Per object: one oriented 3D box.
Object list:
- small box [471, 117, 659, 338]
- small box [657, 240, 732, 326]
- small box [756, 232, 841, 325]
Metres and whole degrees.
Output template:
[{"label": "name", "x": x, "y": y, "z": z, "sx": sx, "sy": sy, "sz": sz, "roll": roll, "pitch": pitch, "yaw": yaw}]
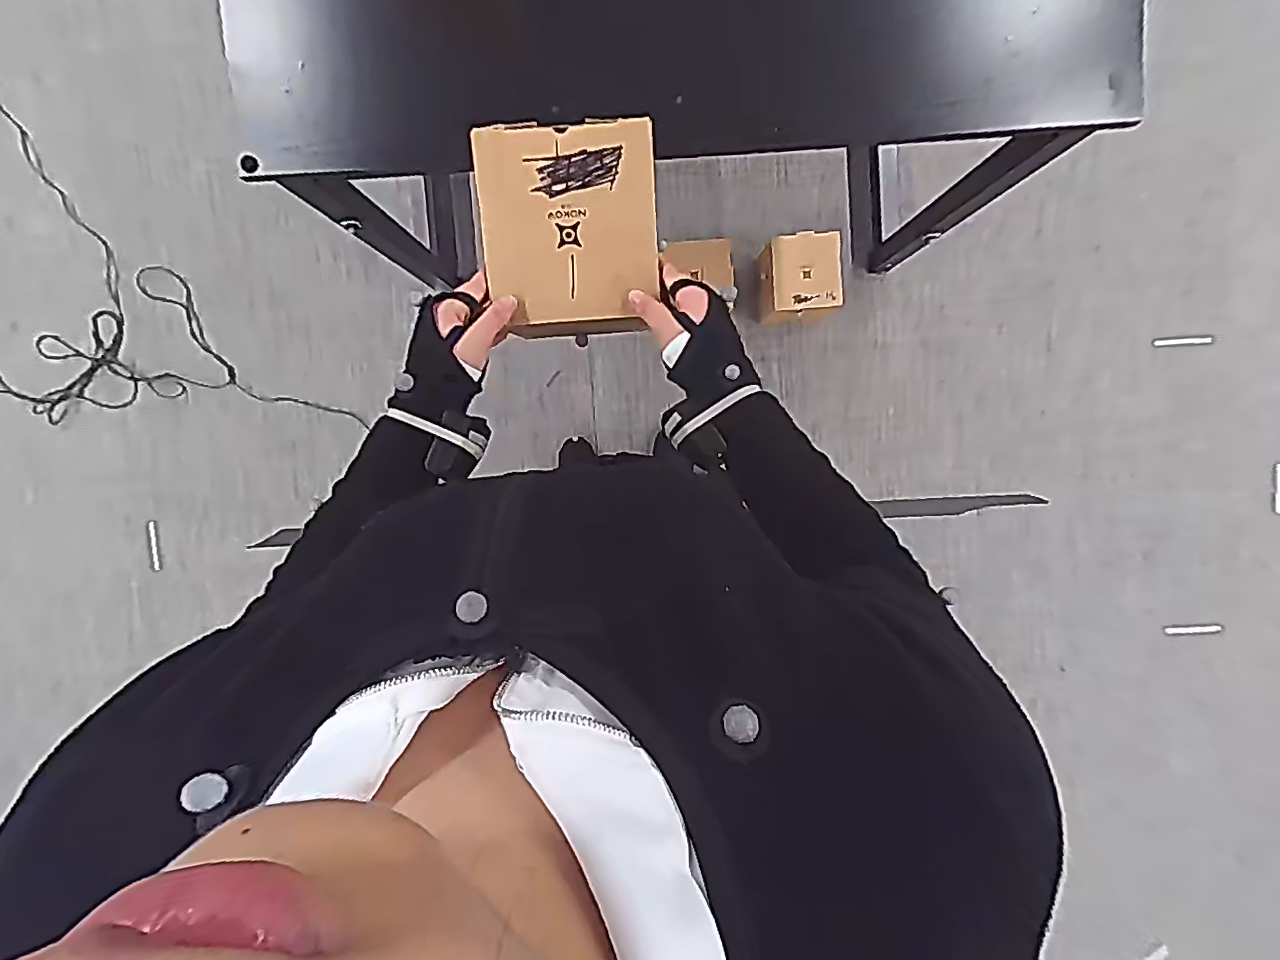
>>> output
[{"label": "small box", "x": -0.070, "y": -0.254, "z": 0.583, "sx": 0.168, "sy": 0.176, "sz": 0.179, "roll": -4, "pitch": 101, "yaw": 0}, {"label": "small box", "x": 0.131, "y": -0.492, "z": 1.371, "sx": 0.179, "sy": 0.176, "sz": 0.168, "roll": -4, "pitch": 94, "yaw": 2}, {"label": "small box", "x": 0.394, "y": -0.503, "z": 1.366, "sx": 0.168, "sy": 0.176, "sz": 0.179, "roll": -4, "pitch": 94, "yaw": 1}]
